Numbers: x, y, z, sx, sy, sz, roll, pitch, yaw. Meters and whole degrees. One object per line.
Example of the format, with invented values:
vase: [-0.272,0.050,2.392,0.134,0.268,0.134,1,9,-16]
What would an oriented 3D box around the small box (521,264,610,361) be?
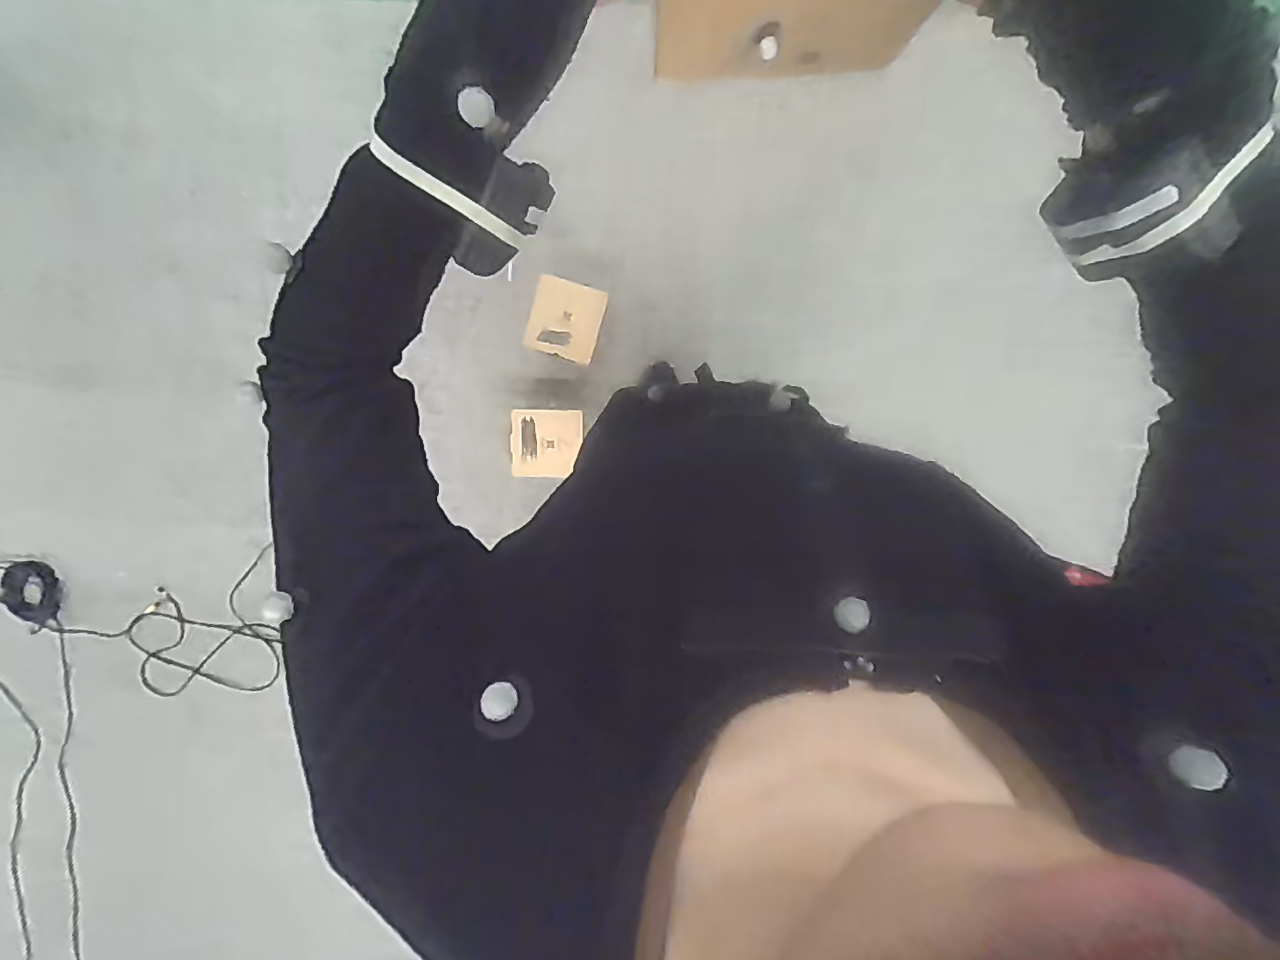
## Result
small box: [-0.174,-0.399,1.326,0.168,0.176,0.179,17,98,-2]
